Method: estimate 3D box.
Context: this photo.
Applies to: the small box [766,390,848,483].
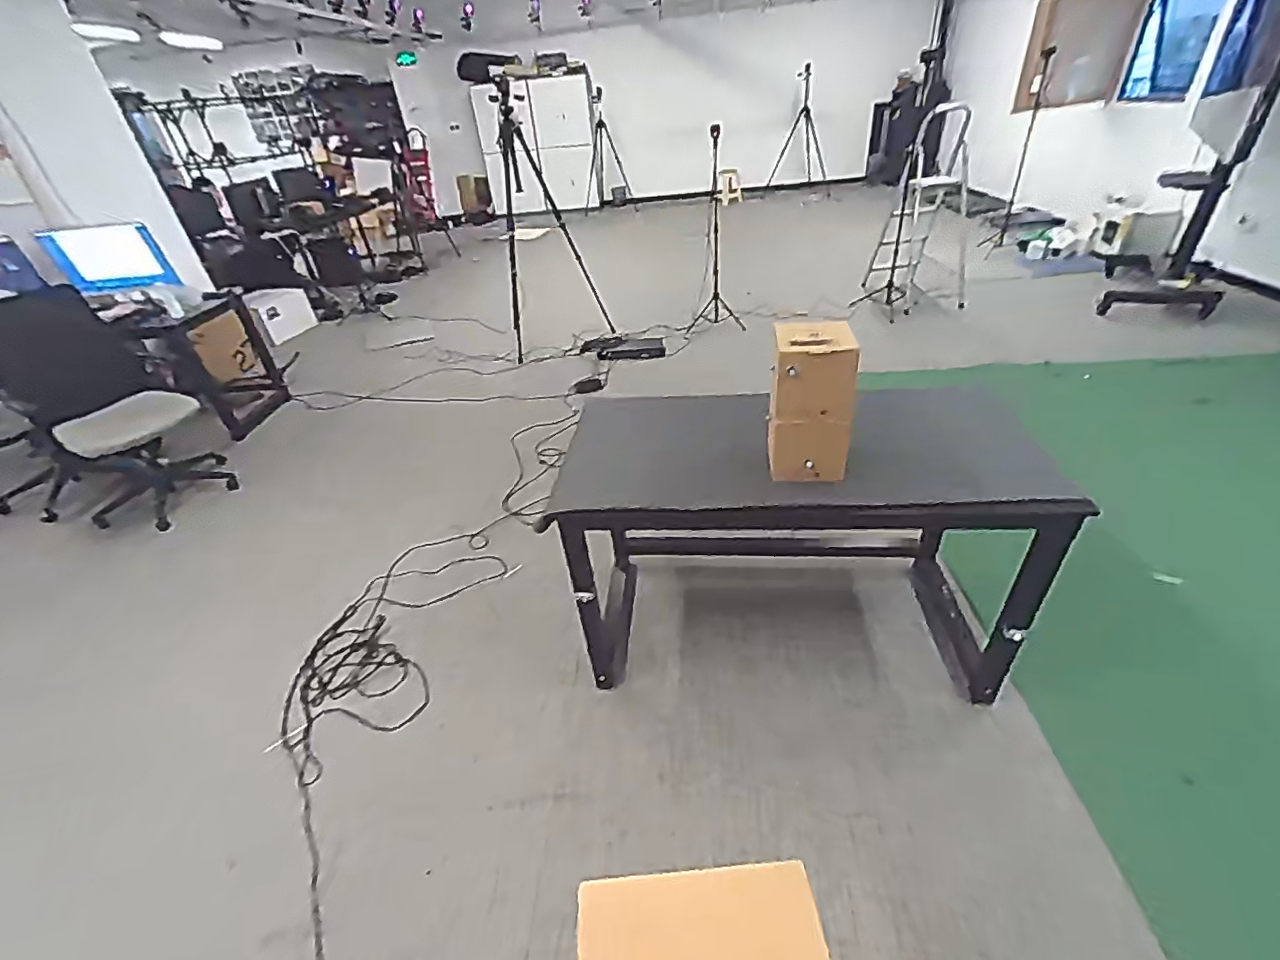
[{"bbox_3d":[0.402,-0.109,1.332,0.168,0.176,0.179,-1,35,9],"label":"small box"}]
